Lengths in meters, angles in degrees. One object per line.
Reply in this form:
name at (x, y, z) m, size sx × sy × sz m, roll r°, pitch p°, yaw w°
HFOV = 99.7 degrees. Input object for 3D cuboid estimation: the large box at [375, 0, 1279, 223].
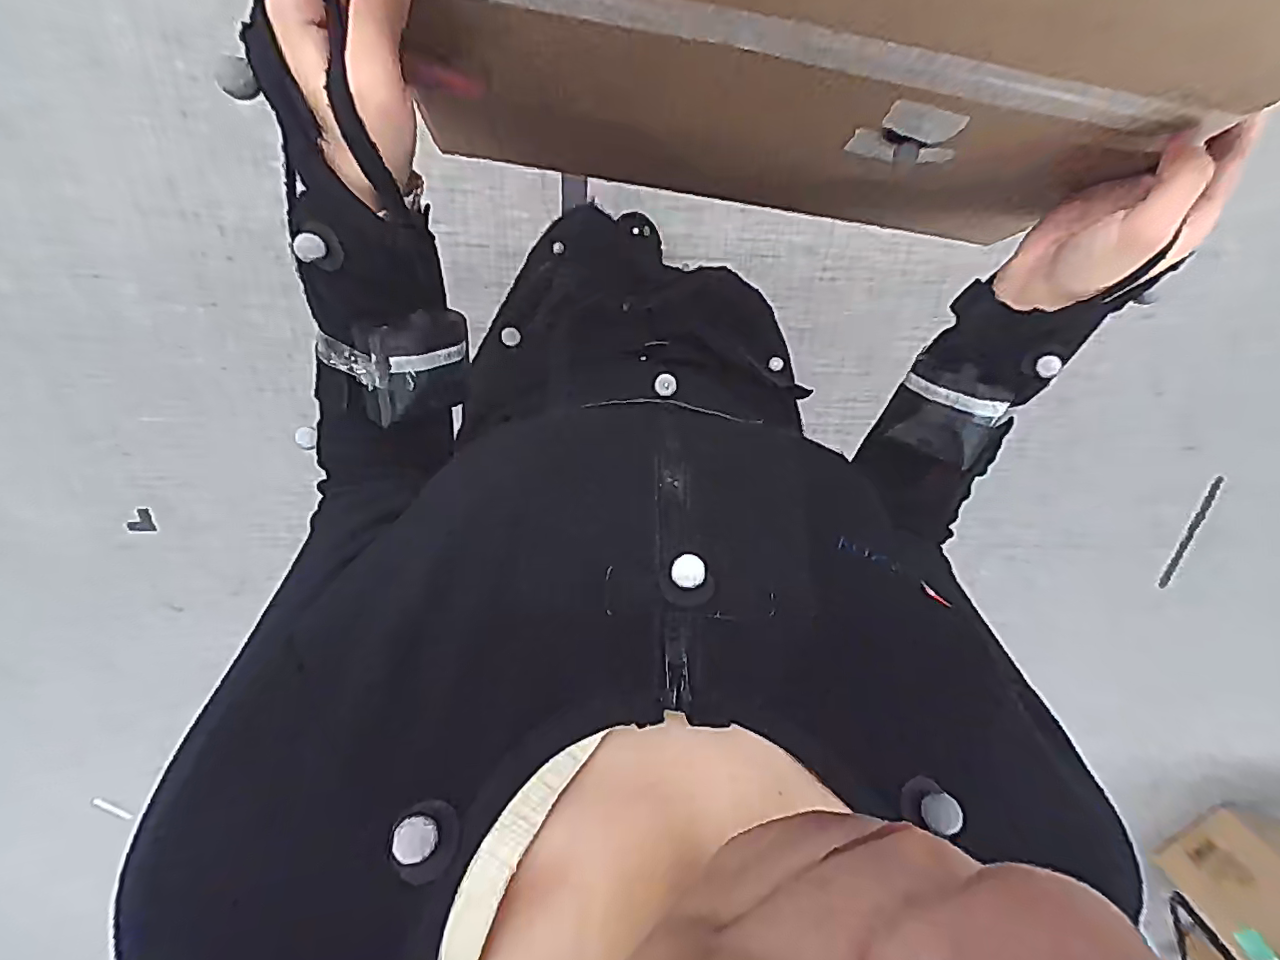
large box at (0.091, -0.350, 0.228) m, size 0.408 × 0.320 × 0.320 m, roll 5°, pitch 94°, yaw -7°
